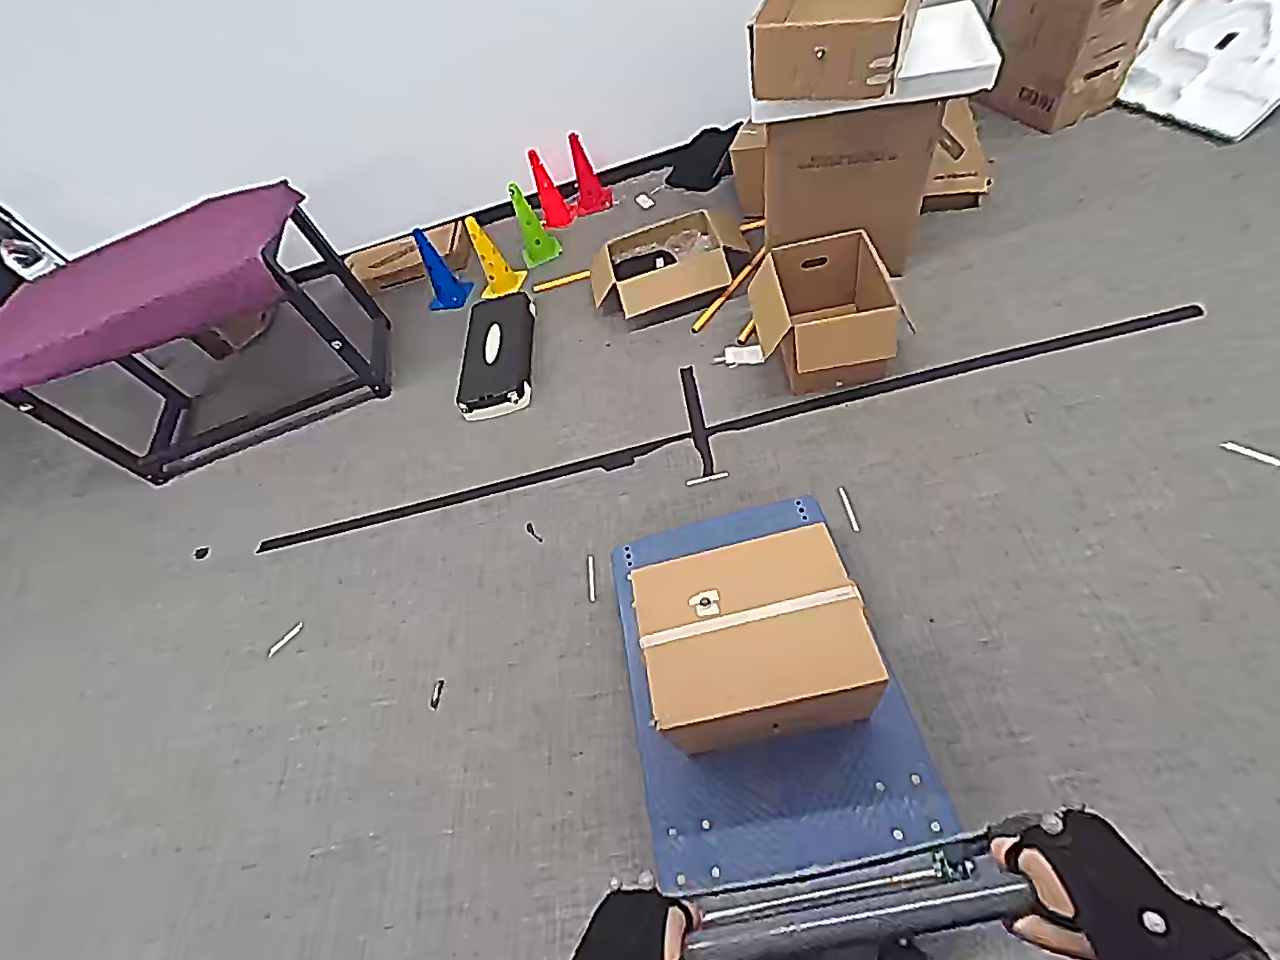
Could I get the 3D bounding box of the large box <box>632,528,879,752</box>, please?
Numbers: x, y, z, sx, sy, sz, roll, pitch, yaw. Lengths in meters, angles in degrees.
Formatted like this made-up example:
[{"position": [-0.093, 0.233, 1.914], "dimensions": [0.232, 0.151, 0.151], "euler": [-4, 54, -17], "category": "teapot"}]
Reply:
[{"position": [0.234, 0.350, 1.146], "dimensions": [0.408, 0.320, 0.320], "euler": [-16, 53, 6], "category": "large box"}]
